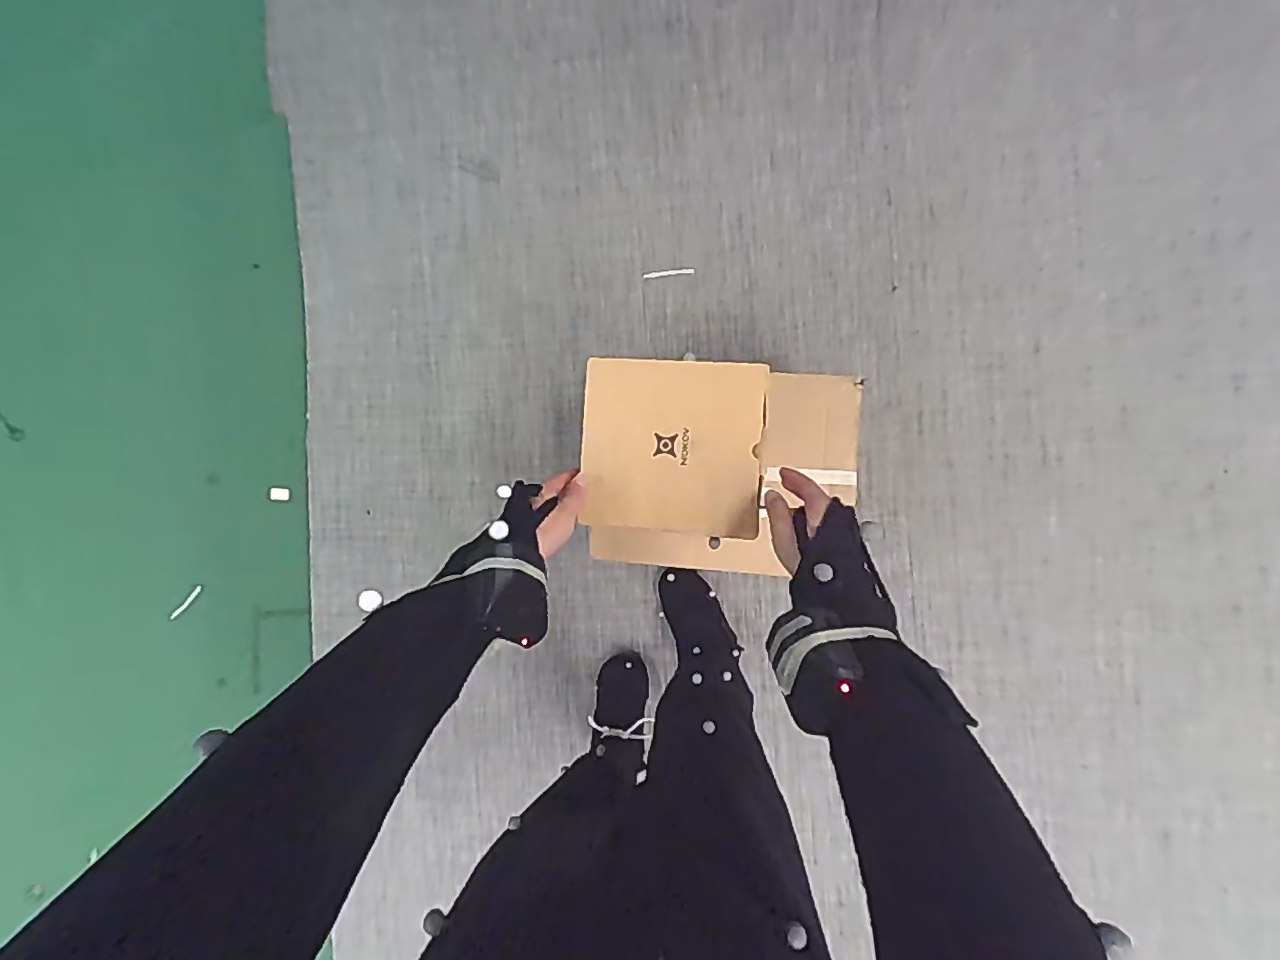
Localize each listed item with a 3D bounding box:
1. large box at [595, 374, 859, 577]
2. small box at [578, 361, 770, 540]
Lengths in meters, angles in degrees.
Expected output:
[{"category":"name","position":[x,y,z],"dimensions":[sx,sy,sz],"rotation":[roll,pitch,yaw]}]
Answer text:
[{"category":"large box","position":[0.145,-0.011,0.986],"dimensions":[0.408,0.320,0.320],"rotation":[3,91,7]},{"category":"small box","position":[0.041,-0.027,0.593],"dimensions":[0.179,0.176,0.168],"rotation":[3,89,7]}]
